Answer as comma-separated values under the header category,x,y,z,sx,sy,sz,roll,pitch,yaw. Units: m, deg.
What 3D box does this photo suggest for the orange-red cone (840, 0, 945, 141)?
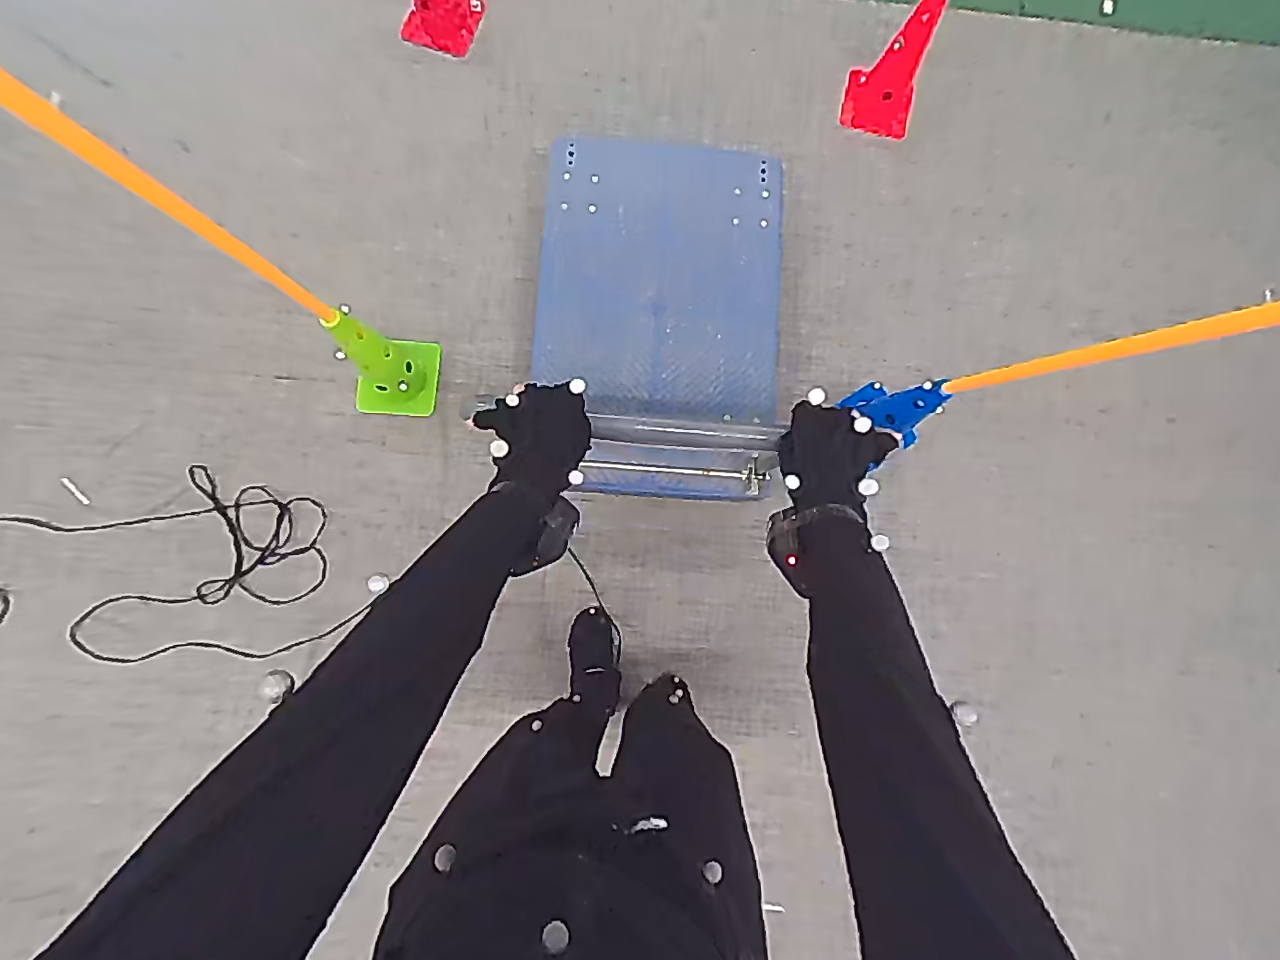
category,x,y,z,sx,sy,sz,roll,pitch,yaw
orange-red cone,0.705,-1.128,1.427,0.198,0.360,0.199,16,82,1
